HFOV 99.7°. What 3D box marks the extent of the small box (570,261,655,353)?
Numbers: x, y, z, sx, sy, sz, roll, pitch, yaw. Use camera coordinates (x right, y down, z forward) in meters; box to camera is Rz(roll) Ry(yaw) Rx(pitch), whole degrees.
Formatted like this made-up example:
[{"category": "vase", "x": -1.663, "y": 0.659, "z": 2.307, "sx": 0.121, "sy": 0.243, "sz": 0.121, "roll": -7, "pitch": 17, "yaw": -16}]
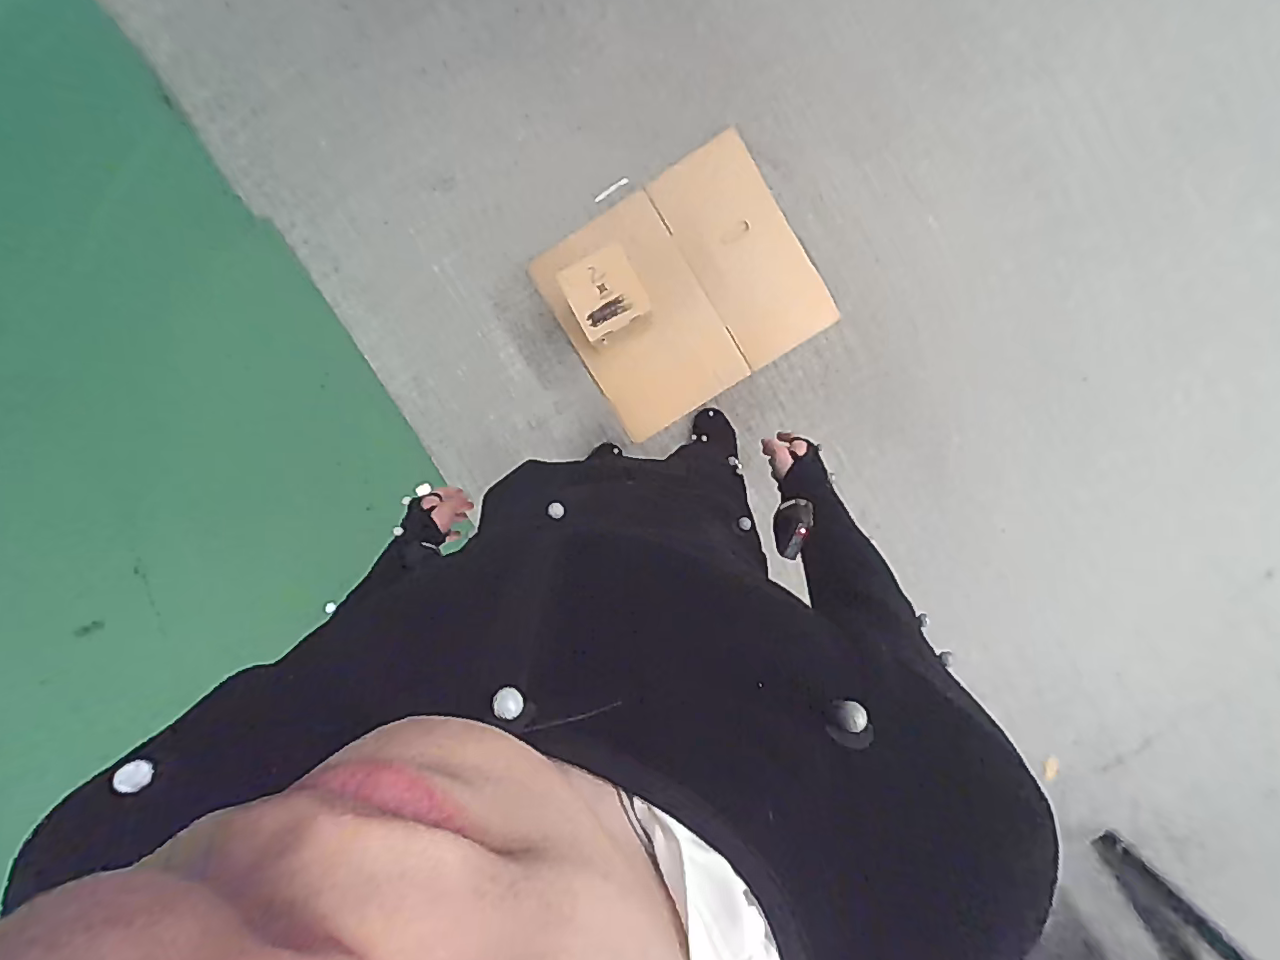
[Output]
[{"category": "small box", "x": -0.067, "y": -0.464, "z": 1.481, "sx": 0.179, "sy": 0.176, "sz": 0.168, "roll": -27, "pitch": 95, "yaw": 5}]
